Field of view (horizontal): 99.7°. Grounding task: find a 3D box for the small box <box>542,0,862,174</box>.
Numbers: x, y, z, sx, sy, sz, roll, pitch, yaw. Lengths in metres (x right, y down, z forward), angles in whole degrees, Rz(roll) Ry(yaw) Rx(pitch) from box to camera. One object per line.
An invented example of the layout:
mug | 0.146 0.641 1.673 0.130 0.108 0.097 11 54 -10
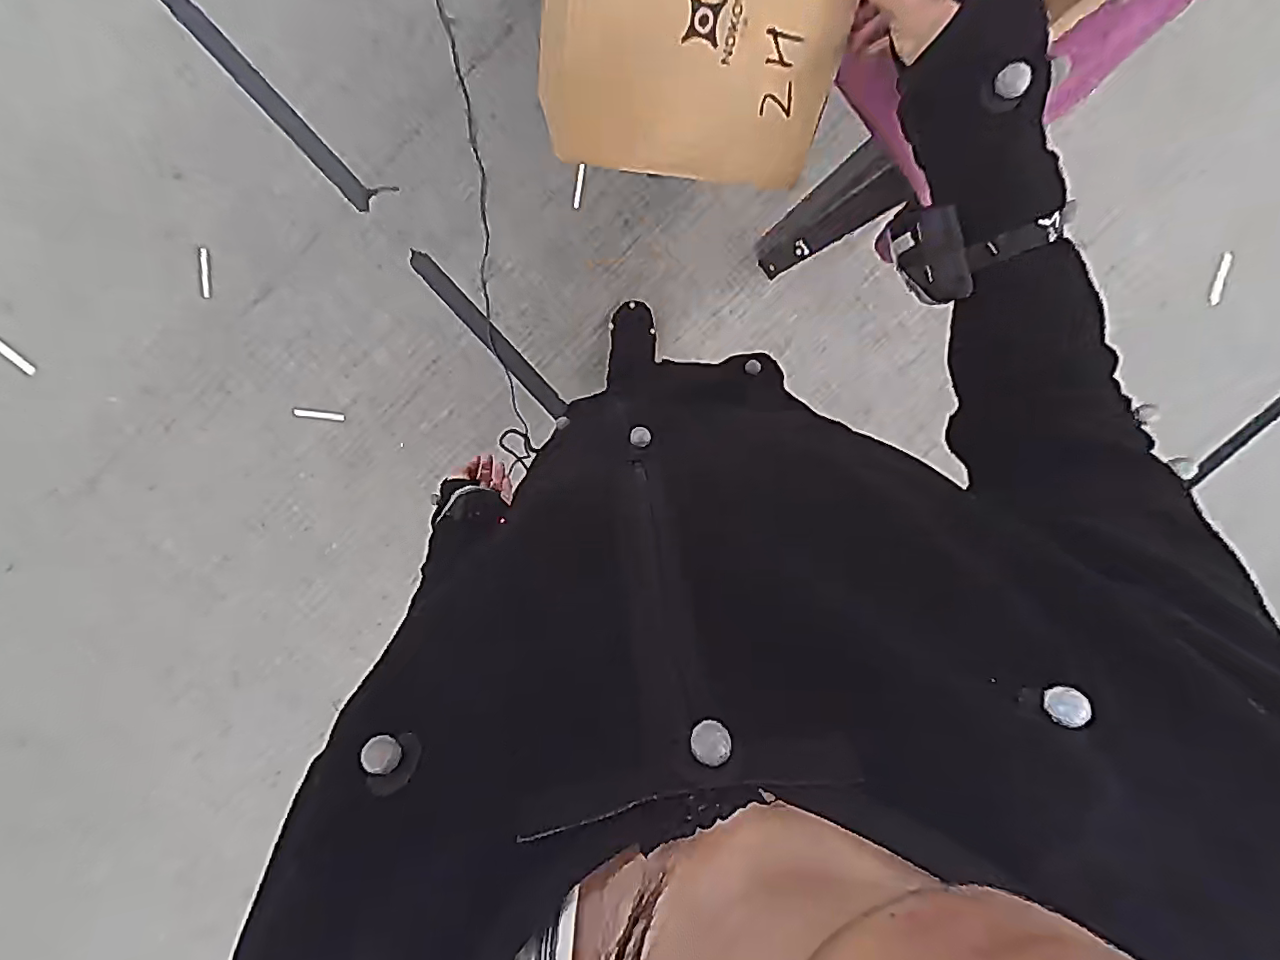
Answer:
small box | 0.030 -0.330 0.357 0.179 0.176 0.168 -2 138 -15
